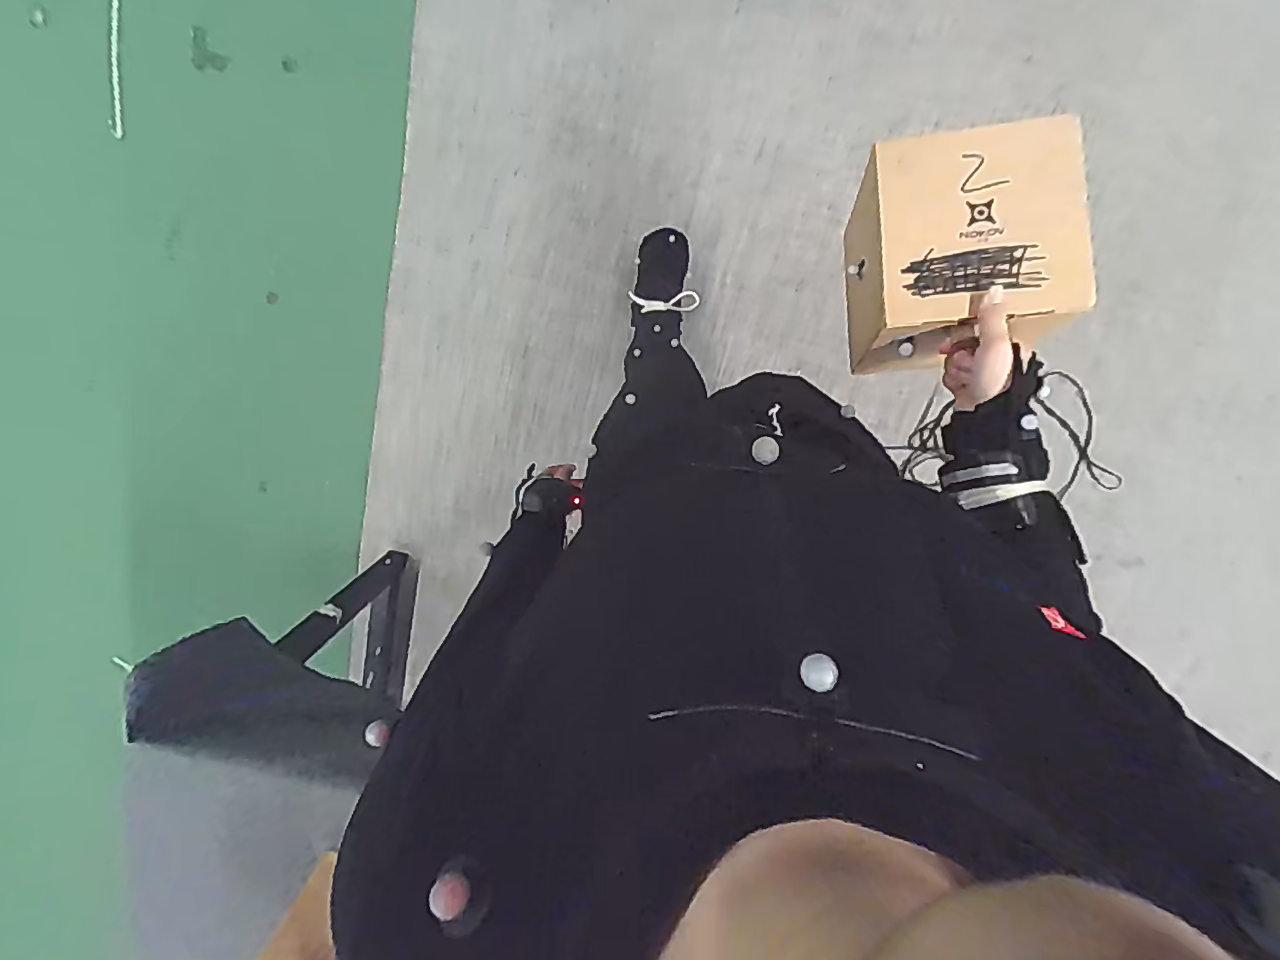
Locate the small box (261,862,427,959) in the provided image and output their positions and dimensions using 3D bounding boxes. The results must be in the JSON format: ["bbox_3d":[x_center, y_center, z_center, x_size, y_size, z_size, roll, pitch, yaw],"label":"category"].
[{"bbox_3d":[-0.418,0.687,0.746,0.168,0.176,0.179,19,105,-2],"label":"small box"}]
